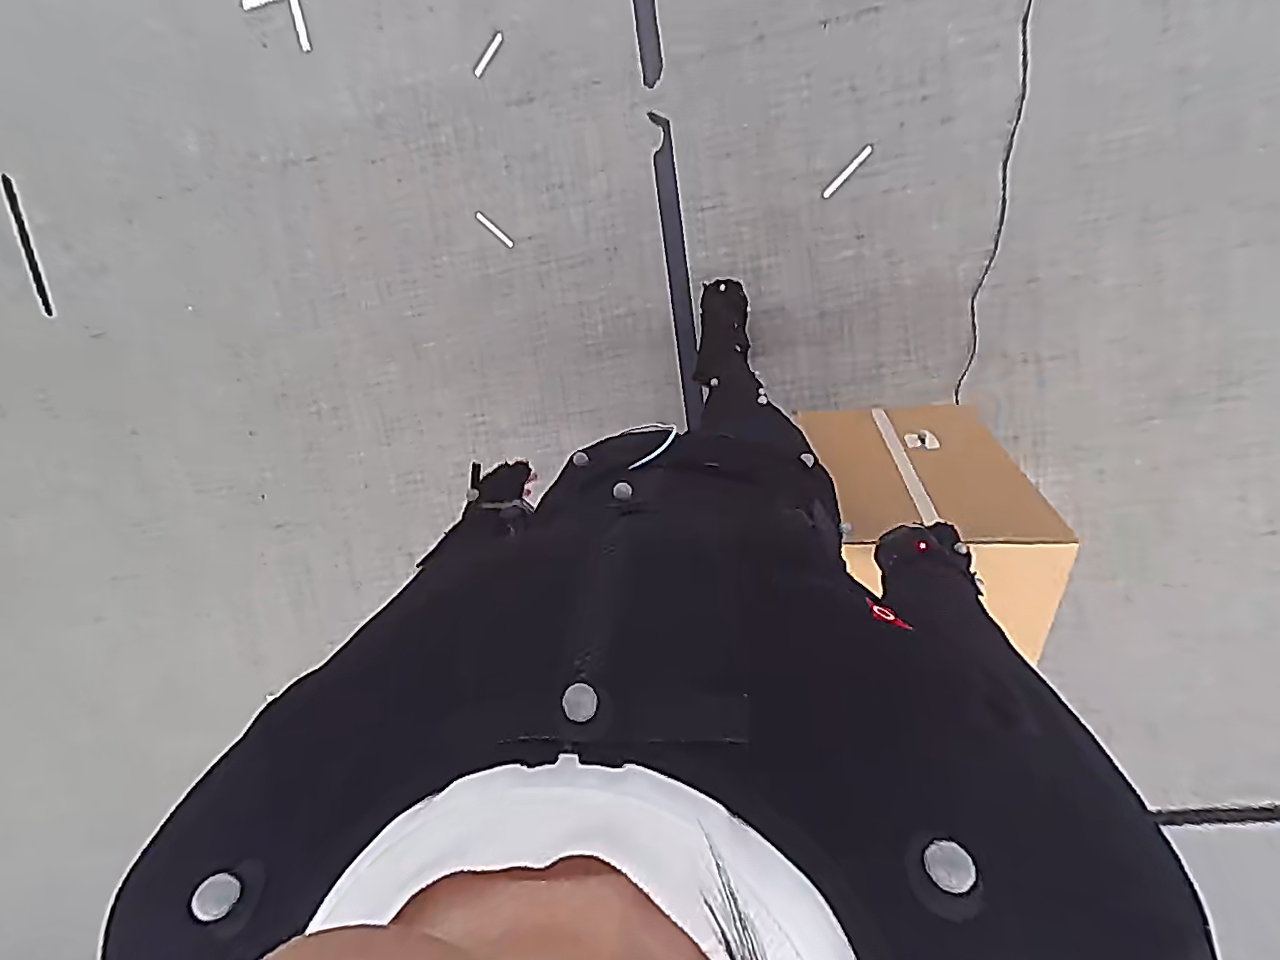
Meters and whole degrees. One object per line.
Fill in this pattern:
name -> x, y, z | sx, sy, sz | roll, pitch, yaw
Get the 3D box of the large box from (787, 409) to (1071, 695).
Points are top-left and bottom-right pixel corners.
large box -> 0.428, 0.103, 0.927 | 0.320, 0.408, 0.320 | -1, 119, 10
